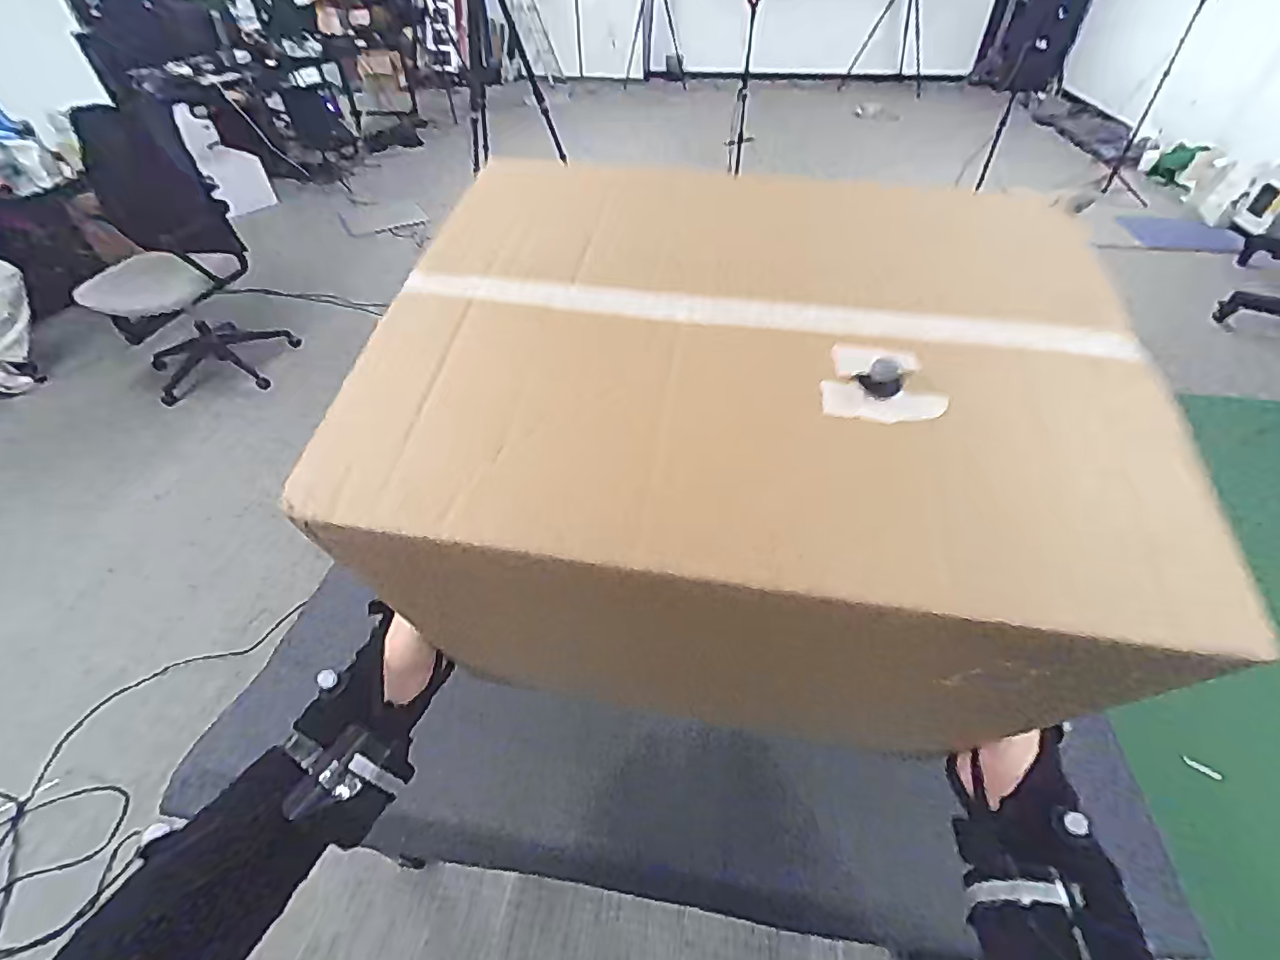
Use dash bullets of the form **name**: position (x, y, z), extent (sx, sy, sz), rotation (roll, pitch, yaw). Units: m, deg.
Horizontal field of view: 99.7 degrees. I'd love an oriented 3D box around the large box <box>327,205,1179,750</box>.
- **large box**: position (0.060, 0.009, 0.455), extent (0.408, 0.320, 0.320), rotation (7, 57, 6)
